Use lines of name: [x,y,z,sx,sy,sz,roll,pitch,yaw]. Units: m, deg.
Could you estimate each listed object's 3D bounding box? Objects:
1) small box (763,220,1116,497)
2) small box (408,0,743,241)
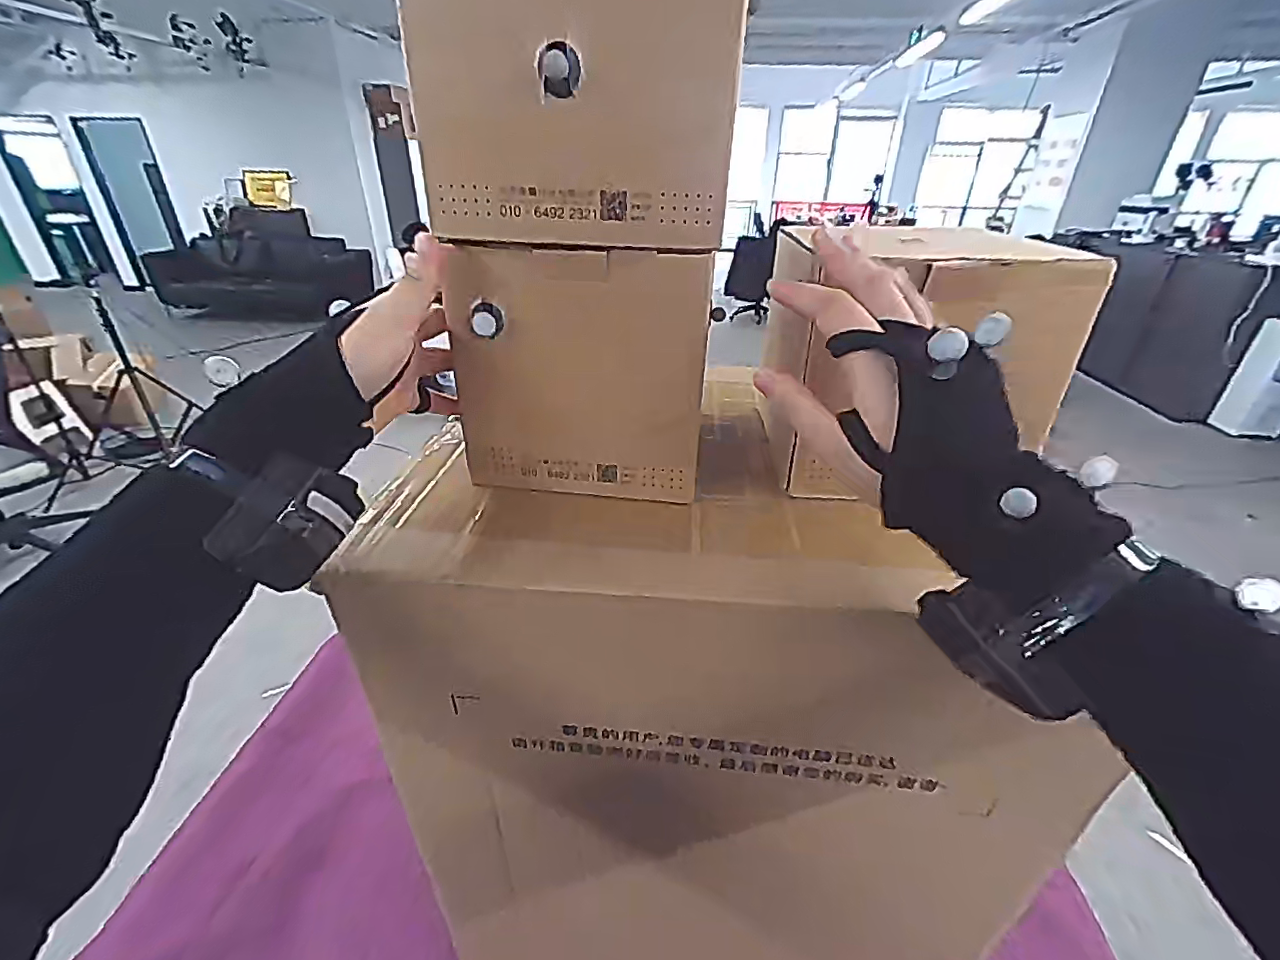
small box: [0.196,-0.104,0.424,0.168,0.176,0.179,1,30,3]
small box: [-0.027,-0.248,0.336,0.168,0.176,0.179,3,29,1]
